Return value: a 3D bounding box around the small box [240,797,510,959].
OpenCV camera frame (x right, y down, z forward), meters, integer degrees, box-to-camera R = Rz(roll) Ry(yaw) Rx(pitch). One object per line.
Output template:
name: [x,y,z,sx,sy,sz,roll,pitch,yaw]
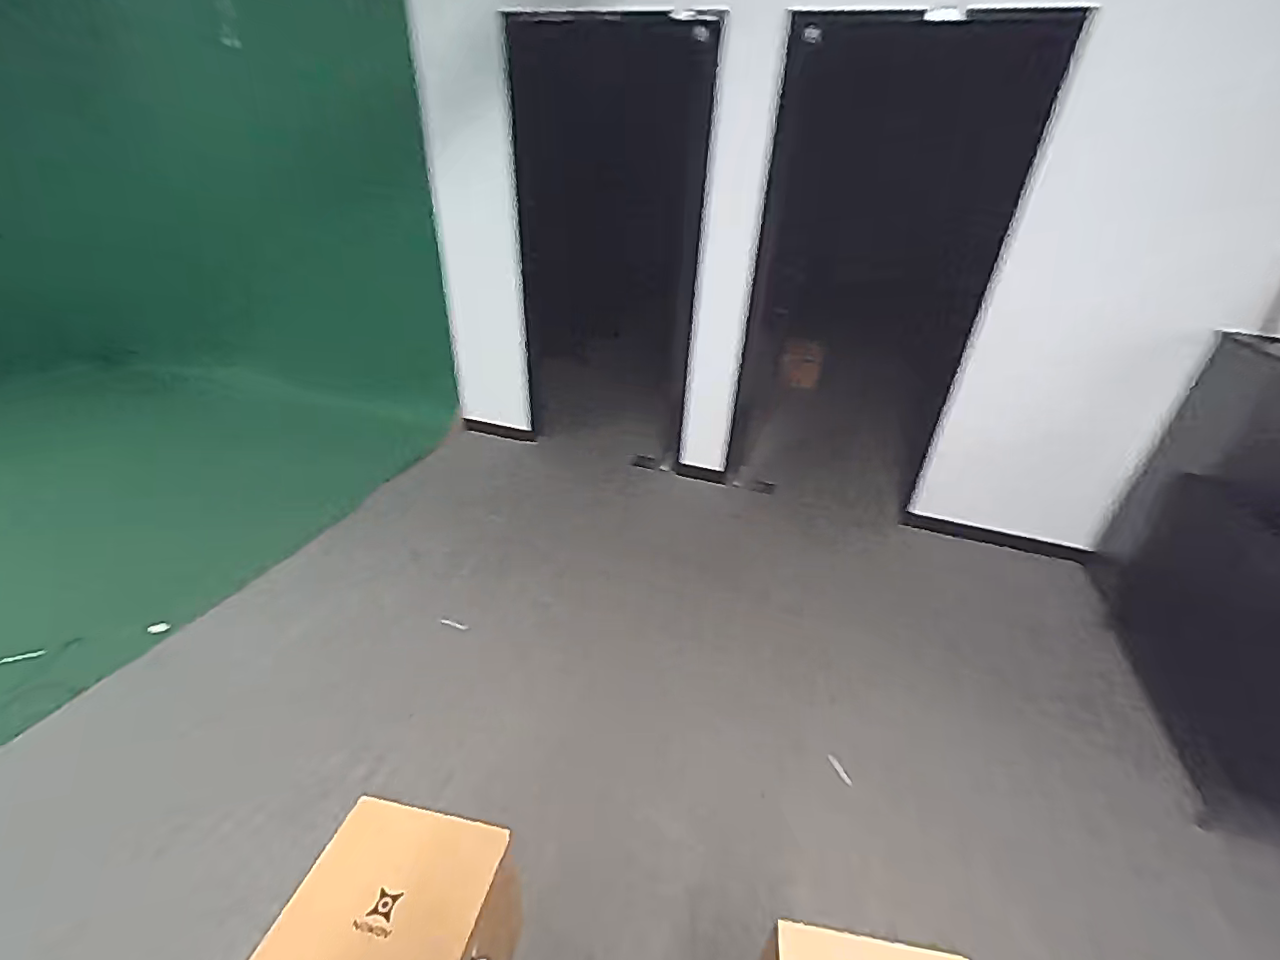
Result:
small box: [-0.230,0.441,0.499,0.168,0.176,0.179,6,28,10]
